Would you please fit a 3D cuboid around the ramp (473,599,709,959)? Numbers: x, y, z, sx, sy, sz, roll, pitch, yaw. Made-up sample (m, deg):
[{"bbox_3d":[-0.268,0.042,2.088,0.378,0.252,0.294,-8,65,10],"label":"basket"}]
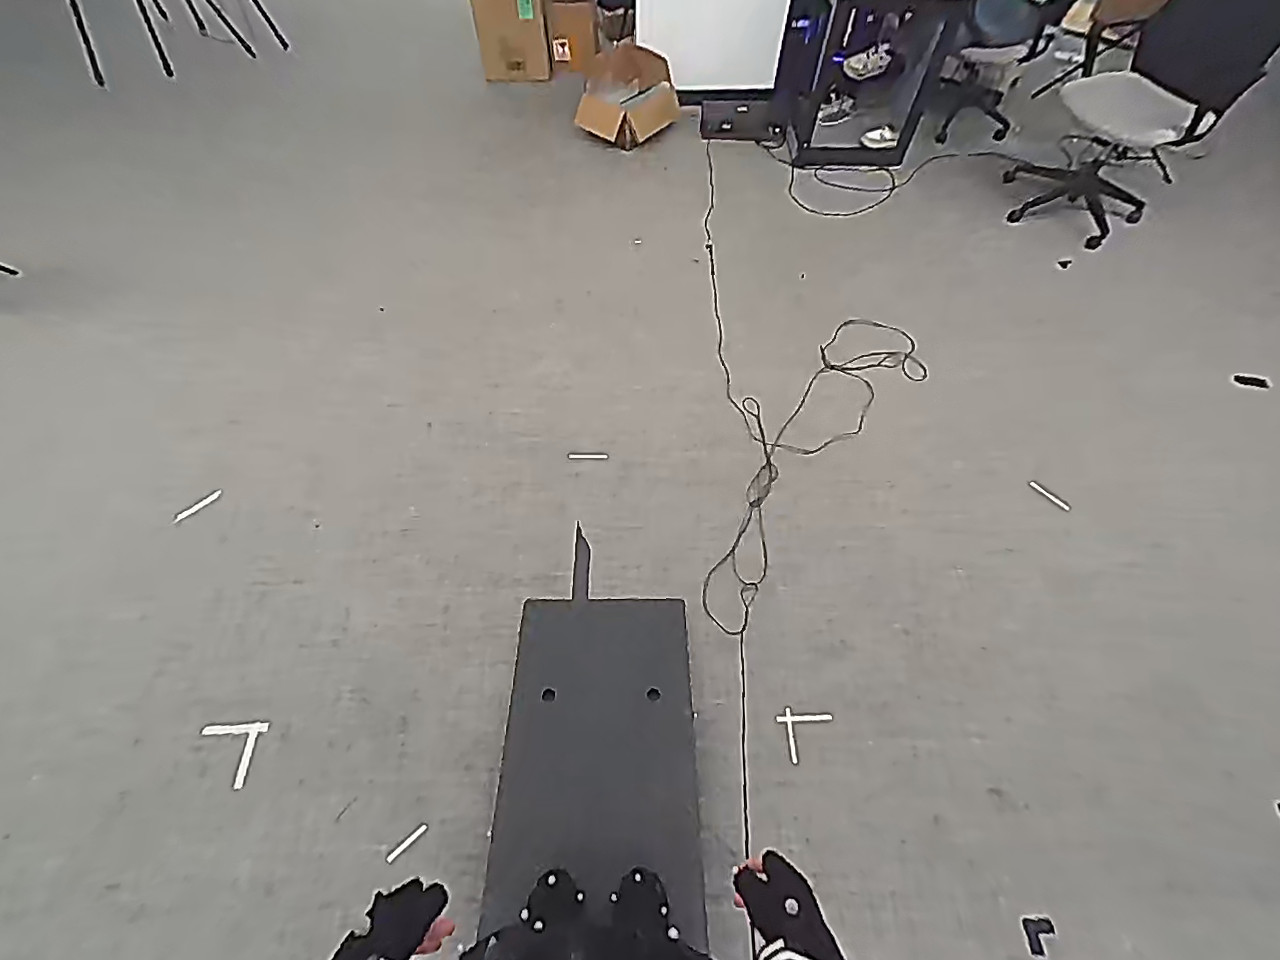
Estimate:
[{"bbox_3d":[-0.105,0.745,1.335,0.509,0.206,0.991,-2,59,0],"label":"ramp"}]
